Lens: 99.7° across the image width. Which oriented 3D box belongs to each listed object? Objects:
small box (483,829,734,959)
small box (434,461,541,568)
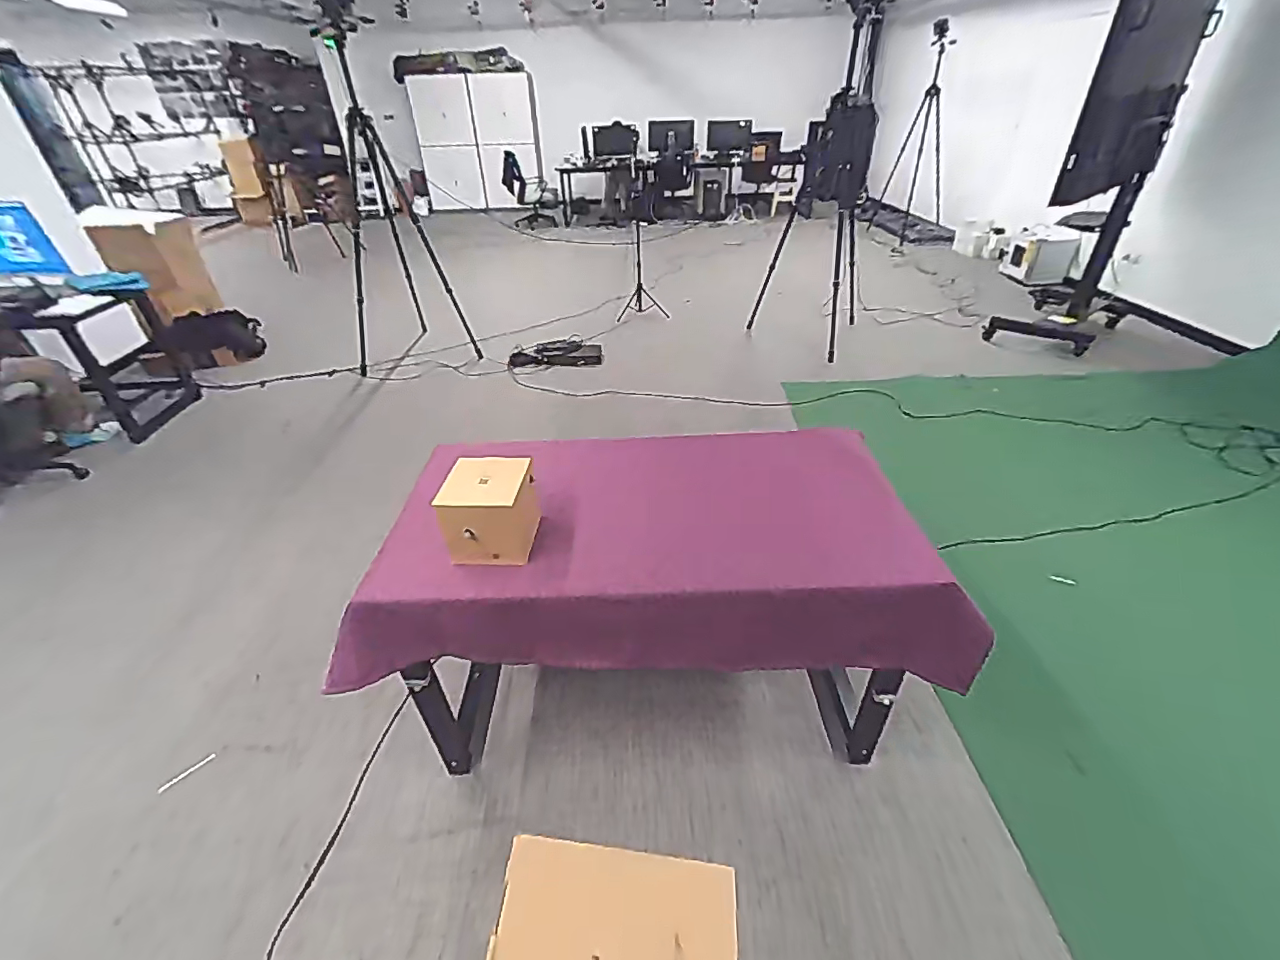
[{"bbox_3d":[-0.033,0.397,0.418,0.179,0.176,0.168,11,44,-3],"label":"small box"},{"bbox_3d":[-0.318,0.076,1.175,0.168,0.176,0.179,0,34,4],"label":"small box"}]
